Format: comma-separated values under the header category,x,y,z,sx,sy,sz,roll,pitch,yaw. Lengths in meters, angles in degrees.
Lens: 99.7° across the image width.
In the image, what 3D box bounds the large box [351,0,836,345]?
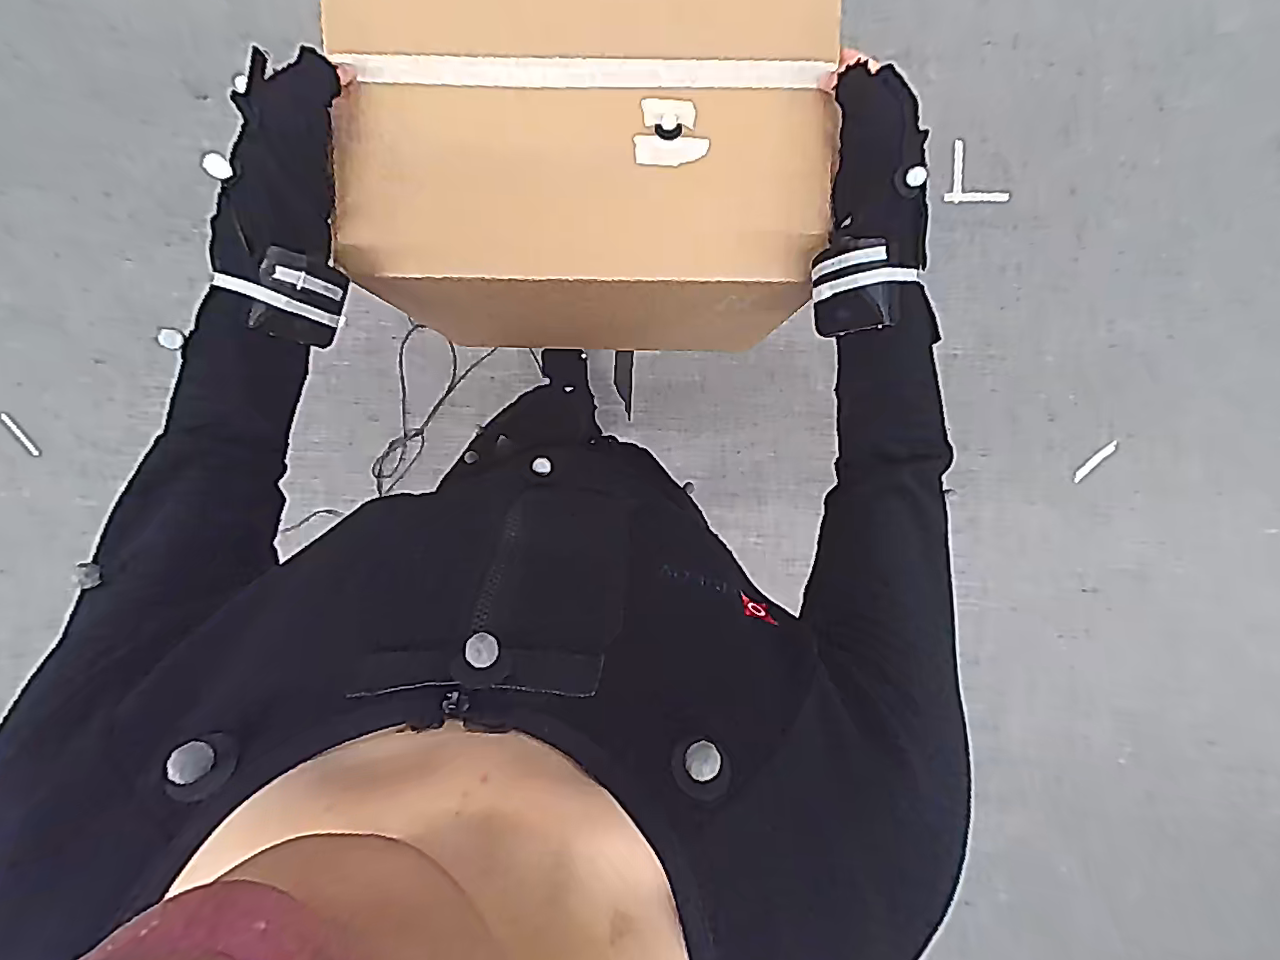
category,x,y,z,sx,sy,sz,roll,pitch,yaw
large box,-0.041,-0.335,0.593,0.408,0.320,0.320,0,93,-1
